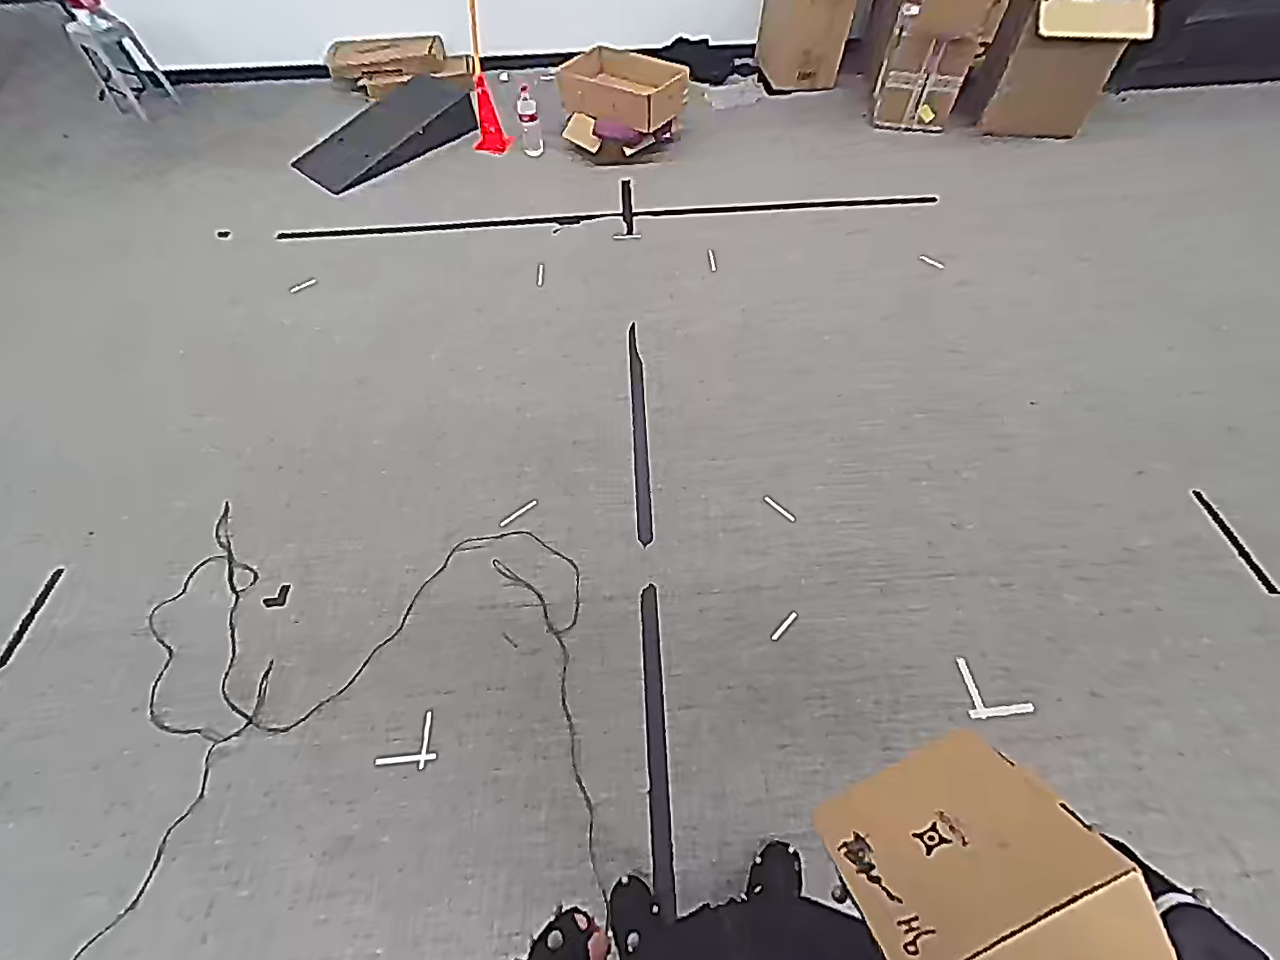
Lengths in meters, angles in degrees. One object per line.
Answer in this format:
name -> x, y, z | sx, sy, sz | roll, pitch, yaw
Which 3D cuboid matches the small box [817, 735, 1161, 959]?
small box -> 0.288, 0.366, 0.455 | 0.179, 0.168, 0.176 | -27, 97, -1
